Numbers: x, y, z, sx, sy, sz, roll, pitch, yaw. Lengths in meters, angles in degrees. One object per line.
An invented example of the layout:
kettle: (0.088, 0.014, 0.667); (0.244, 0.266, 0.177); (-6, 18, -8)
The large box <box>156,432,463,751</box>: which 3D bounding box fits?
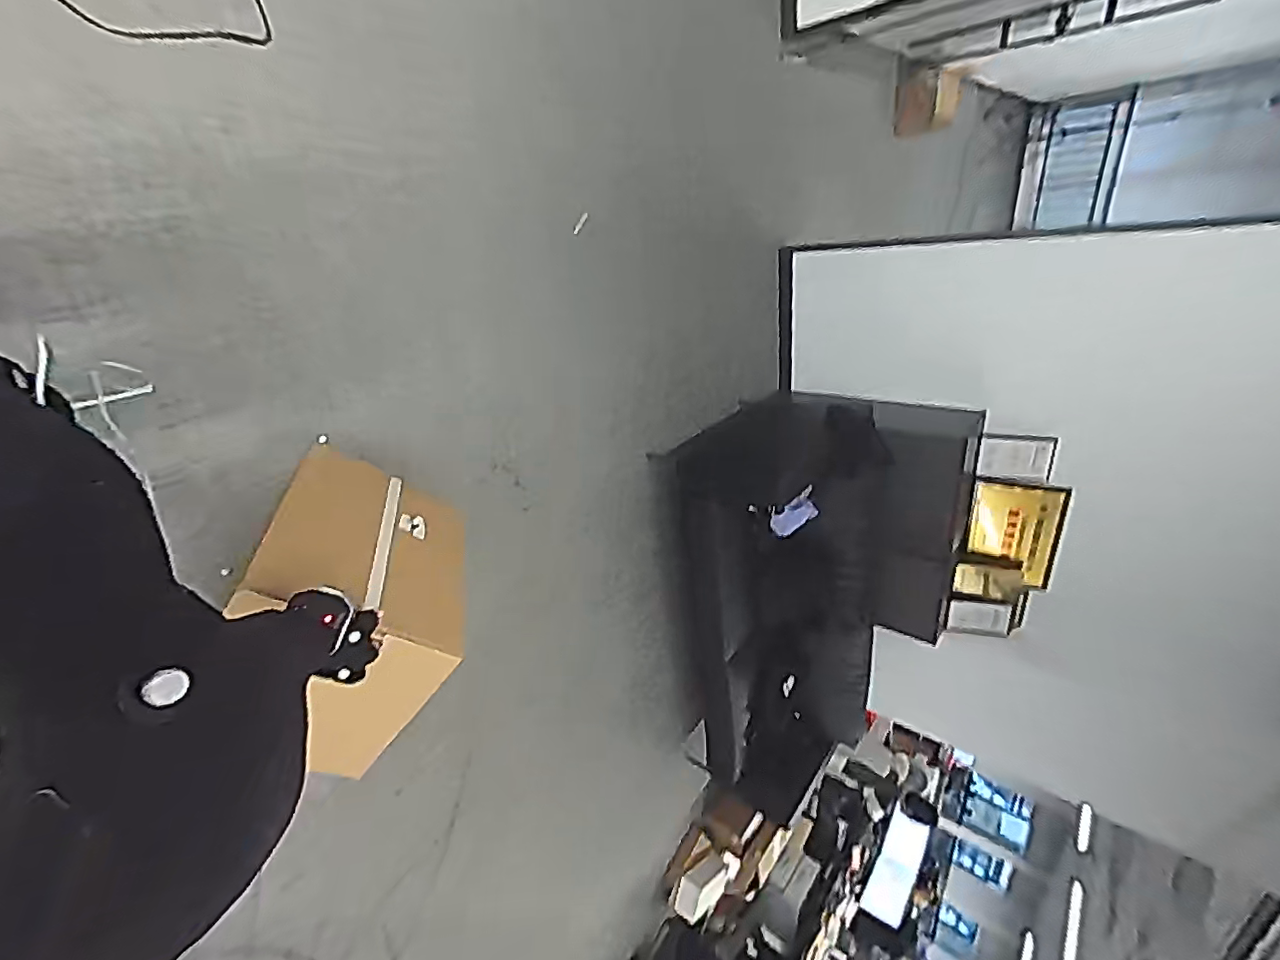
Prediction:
large box: (-0.535, 0.189, 0.951); (0.320, 0.408, 0.320); (33, 106, -32)
